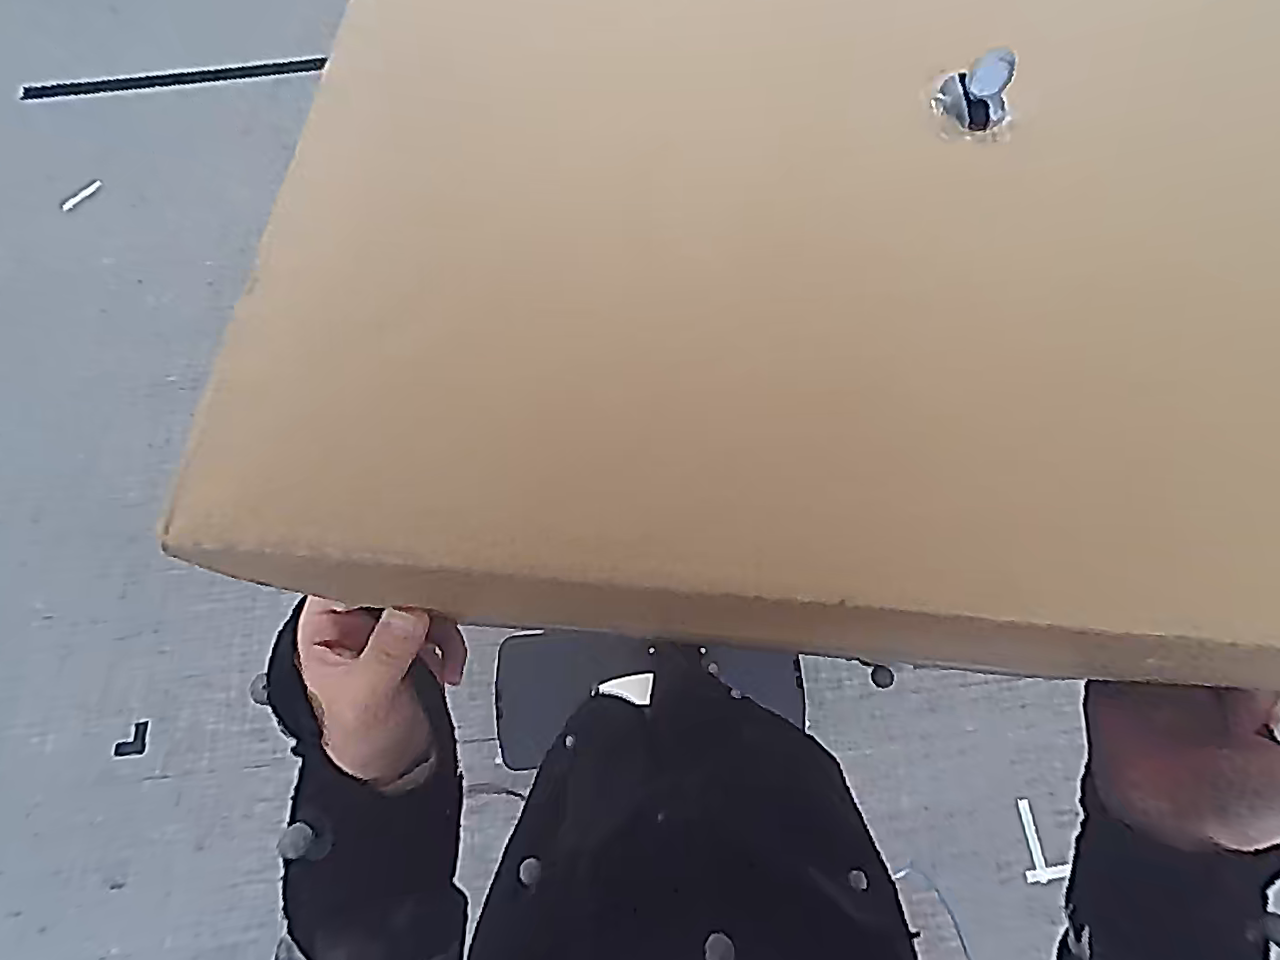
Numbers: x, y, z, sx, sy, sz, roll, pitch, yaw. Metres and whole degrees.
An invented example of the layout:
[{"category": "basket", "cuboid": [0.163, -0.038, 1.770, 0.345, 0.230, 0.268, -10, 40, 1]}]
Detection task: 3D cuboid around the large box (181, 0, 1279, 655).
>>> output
[{"category": "large box", "cuboid": [0.089, -0.078, 0.315, 0.408, 0.320, 0.320, 5, 73, -3]}]
